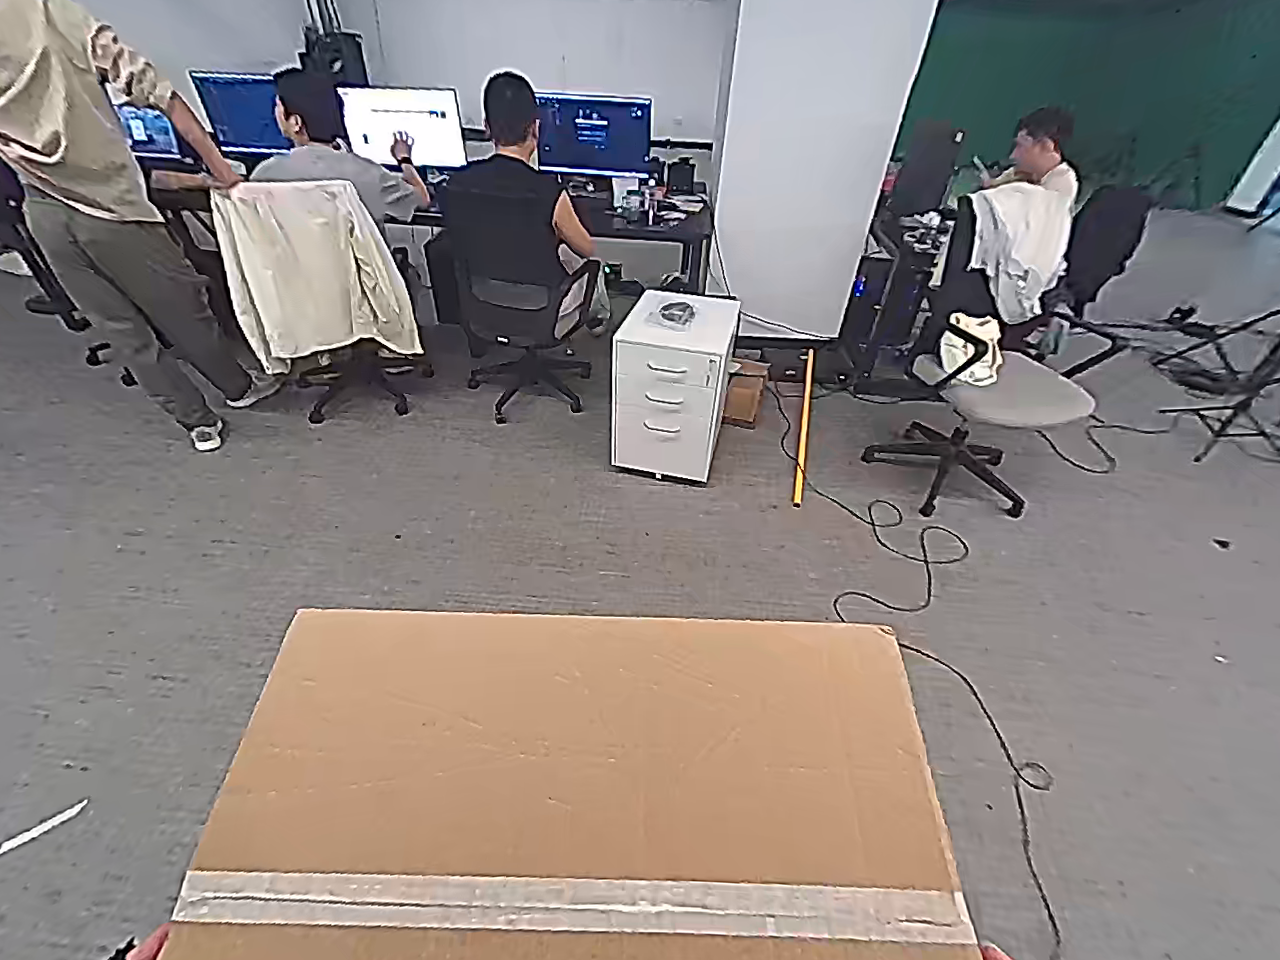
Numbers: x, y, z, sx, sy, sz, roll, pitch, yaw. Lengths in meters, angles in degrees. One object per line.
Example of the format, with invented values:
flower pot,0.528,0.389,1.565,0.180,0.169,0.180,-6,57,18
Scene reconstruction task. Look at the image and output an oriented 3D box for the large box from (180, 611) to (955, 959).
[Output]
large box,-0.037,0.308,0.414,0.408,0.320,0.320,2,55,1
